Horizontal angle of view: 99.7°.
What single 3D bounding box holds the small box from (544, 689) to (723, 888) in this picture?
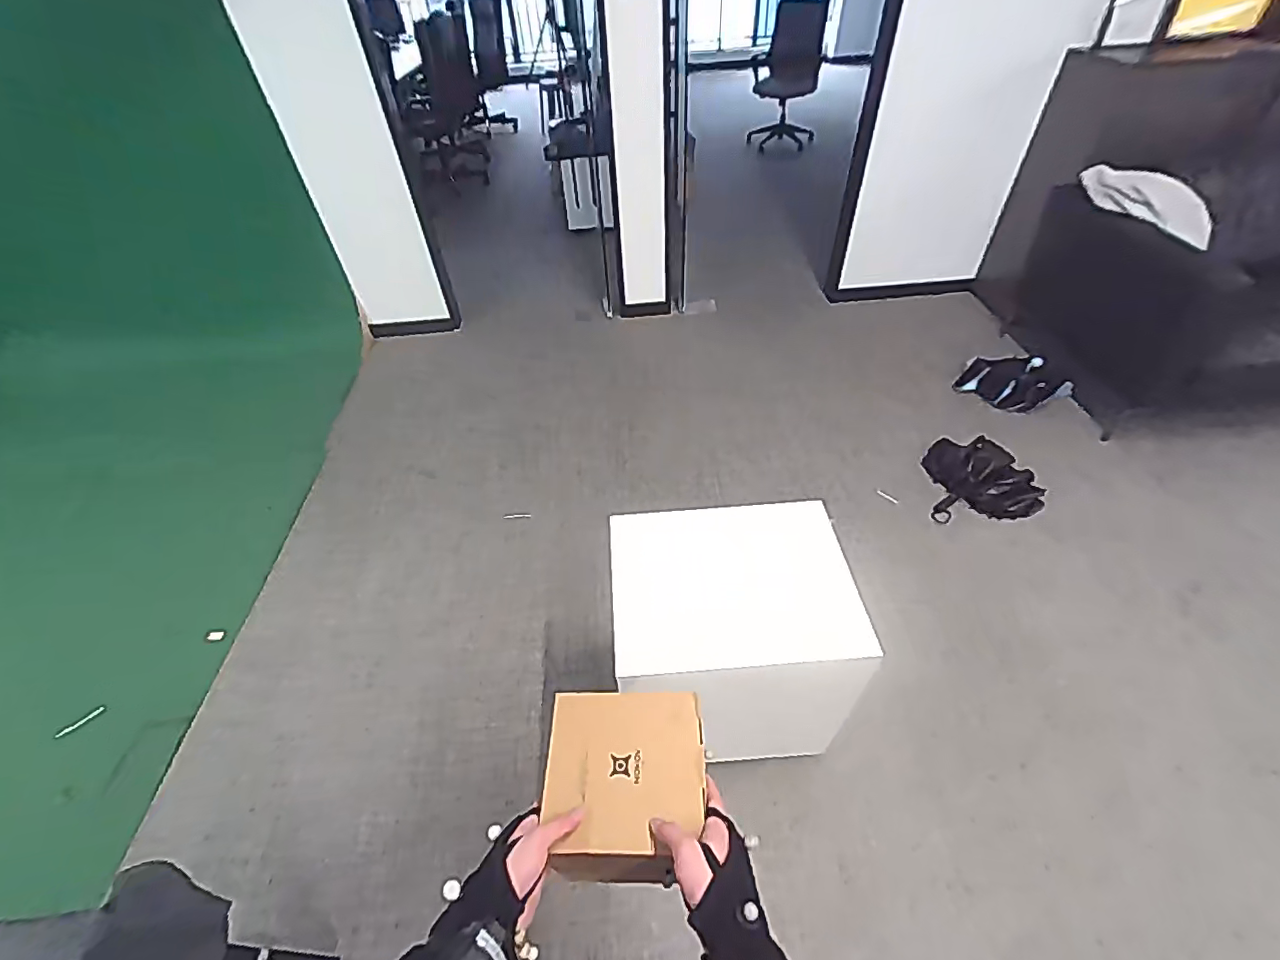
[{"bbox_3d":[-0.004,0.361,0.632,0.179,0.176,0.168,-3,44,2],"label":"small box"}]
